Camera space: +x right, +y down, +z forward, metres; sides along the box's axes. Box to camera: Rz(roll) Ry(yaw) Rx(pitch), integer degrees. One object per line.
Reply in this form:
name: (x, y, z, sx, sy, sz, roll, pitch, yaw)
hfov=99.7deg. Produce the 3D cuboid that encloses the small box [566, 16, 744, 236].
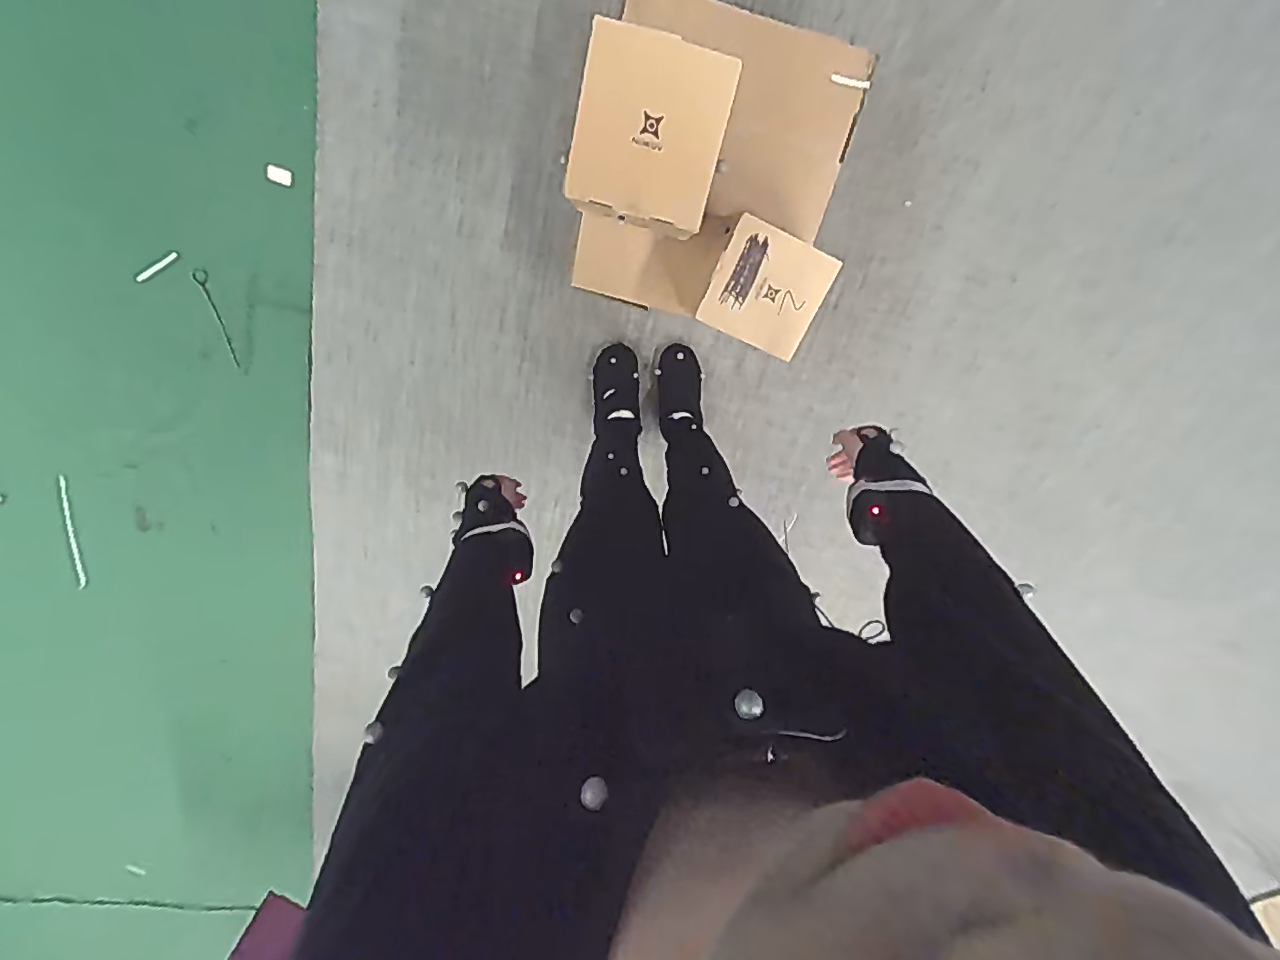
small box: (0.012, -0.420, 0.676, 0.168, 0.176, 0.179, 13, 112, -6)
